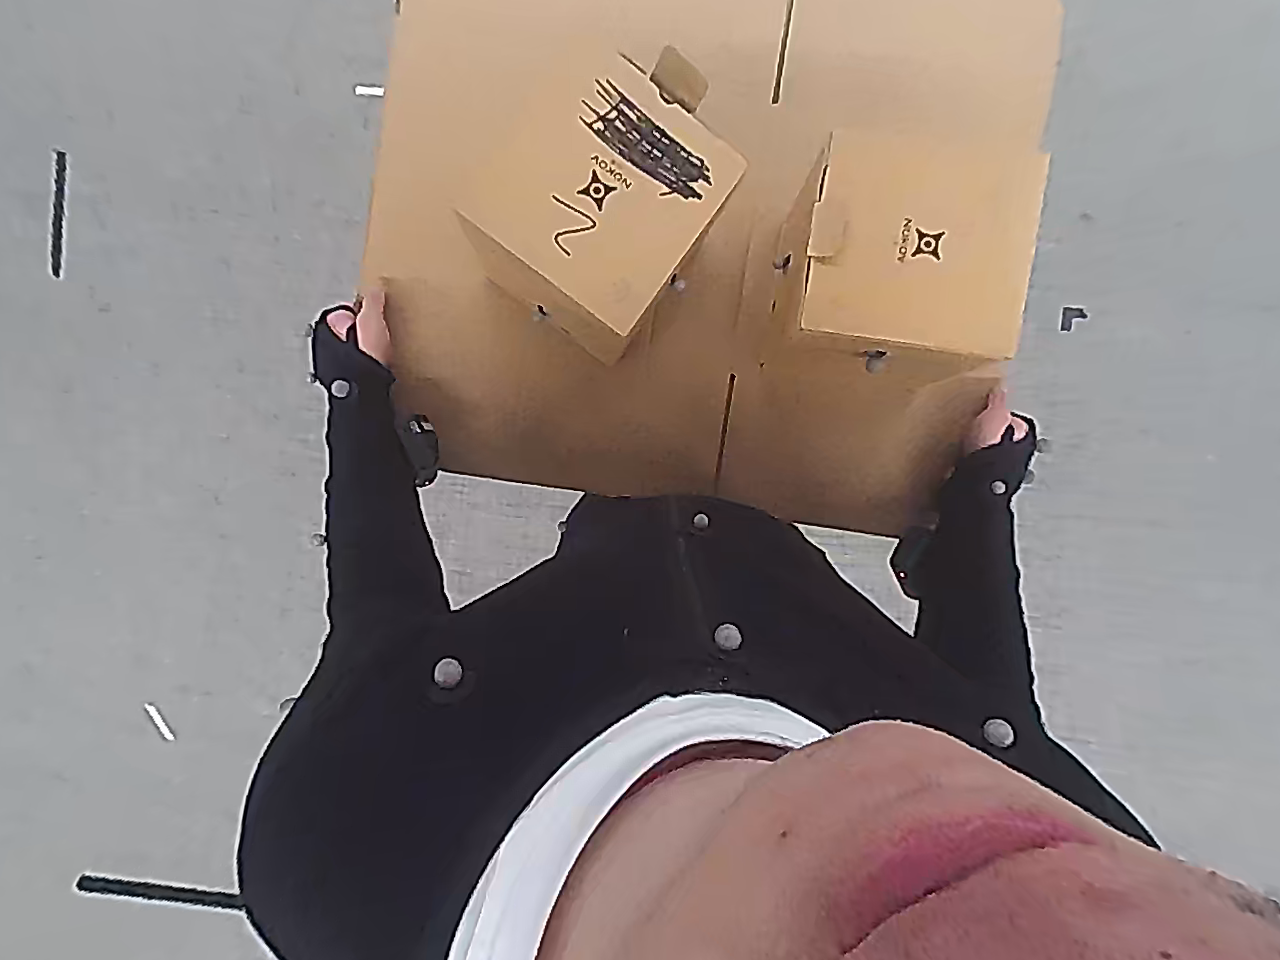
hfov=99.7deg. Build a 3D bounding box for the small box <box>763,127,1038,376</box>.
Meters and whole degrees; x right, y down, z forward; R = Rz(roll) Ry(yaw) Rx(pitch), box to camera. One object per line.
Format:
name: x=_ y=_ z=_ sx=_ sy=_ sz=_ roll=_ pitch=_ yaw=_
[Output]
small box: x=0.232 y=-0.203 z=0.528 sx=0.179 sy=0.176 sz=0.168 roll=9 pitch=92 yaw=3
